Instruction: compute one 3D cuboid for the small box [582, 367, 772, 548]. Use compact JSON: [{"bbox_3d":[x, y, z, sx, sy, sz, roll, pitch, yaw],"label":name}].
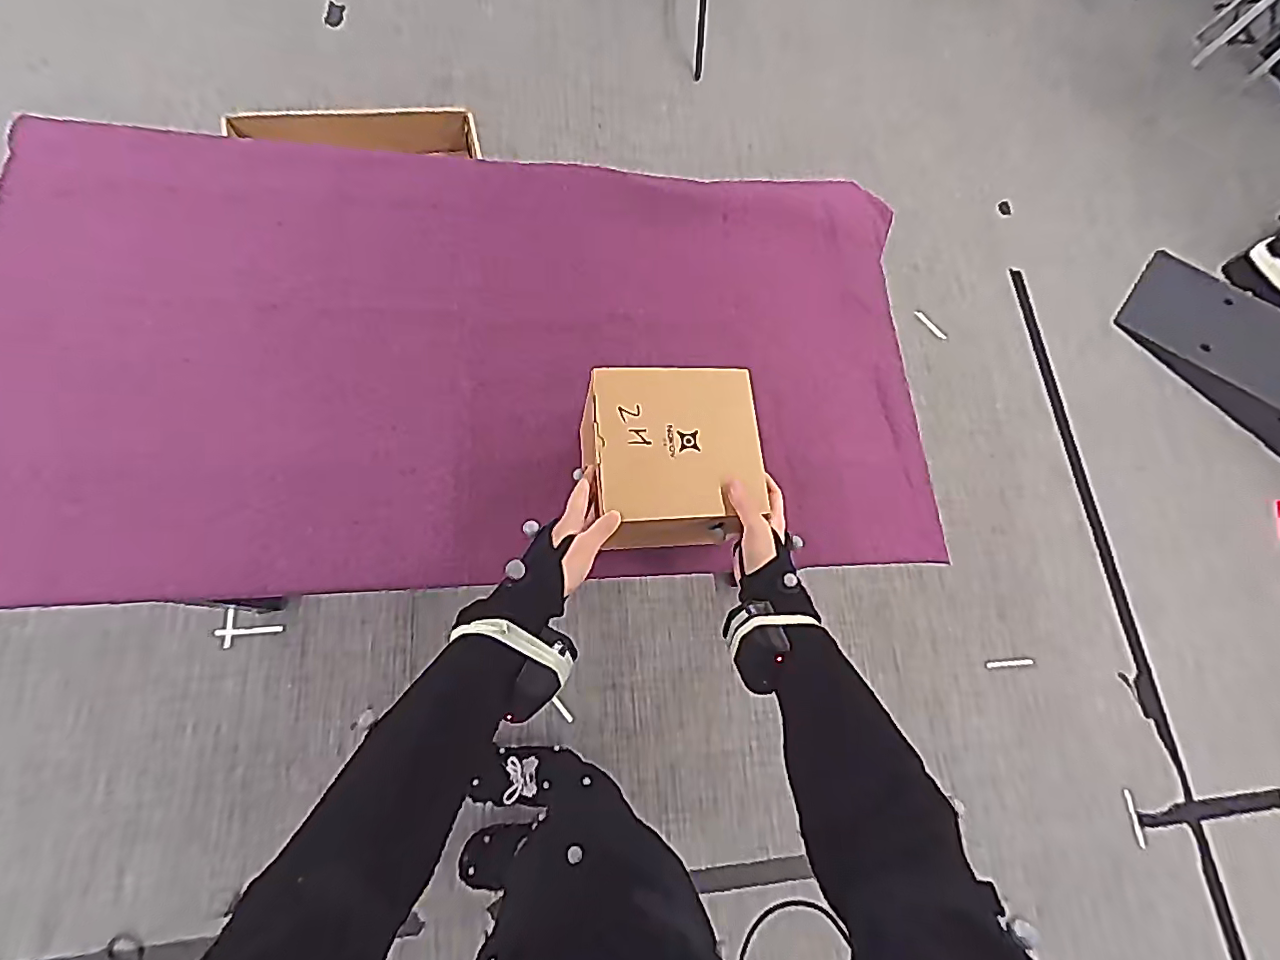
[{"bbox_3d":[0.029,-0.018,0.629,0.179,0.176,0.168,-2,73,-11],"label":"small box"}]
